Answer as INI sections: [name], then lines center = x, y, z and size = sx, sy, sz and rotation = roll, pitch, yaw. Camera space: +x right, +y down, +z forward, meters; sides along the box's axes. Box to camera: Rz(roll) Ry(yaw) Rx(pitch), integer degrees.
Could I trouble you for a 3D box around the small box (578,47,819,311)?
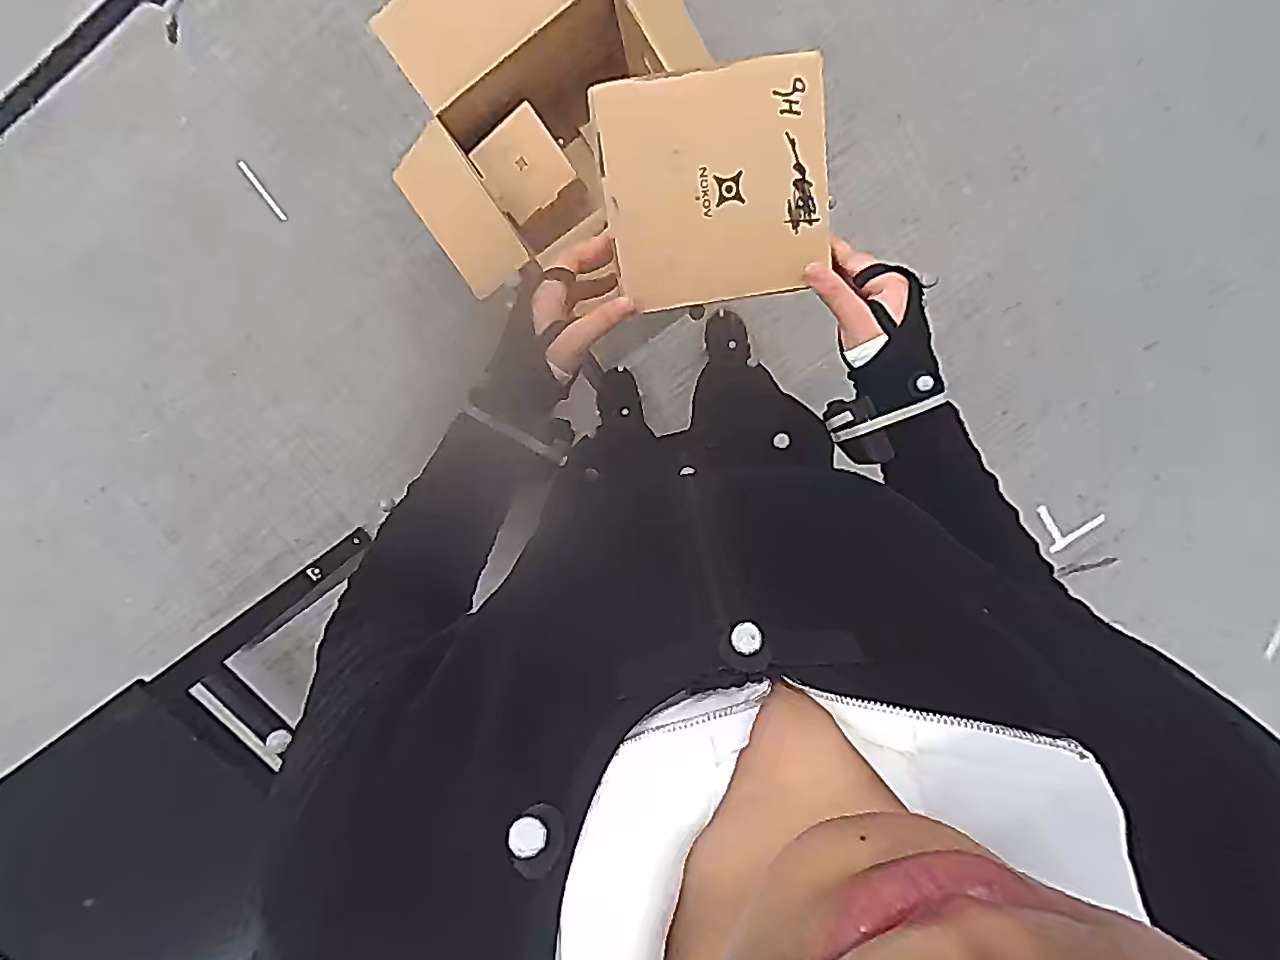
[small box]
center = 0.048, -0.255, 0.502
size = 0.179, 0.176, 0.168
rotation = -10, 106, 0
